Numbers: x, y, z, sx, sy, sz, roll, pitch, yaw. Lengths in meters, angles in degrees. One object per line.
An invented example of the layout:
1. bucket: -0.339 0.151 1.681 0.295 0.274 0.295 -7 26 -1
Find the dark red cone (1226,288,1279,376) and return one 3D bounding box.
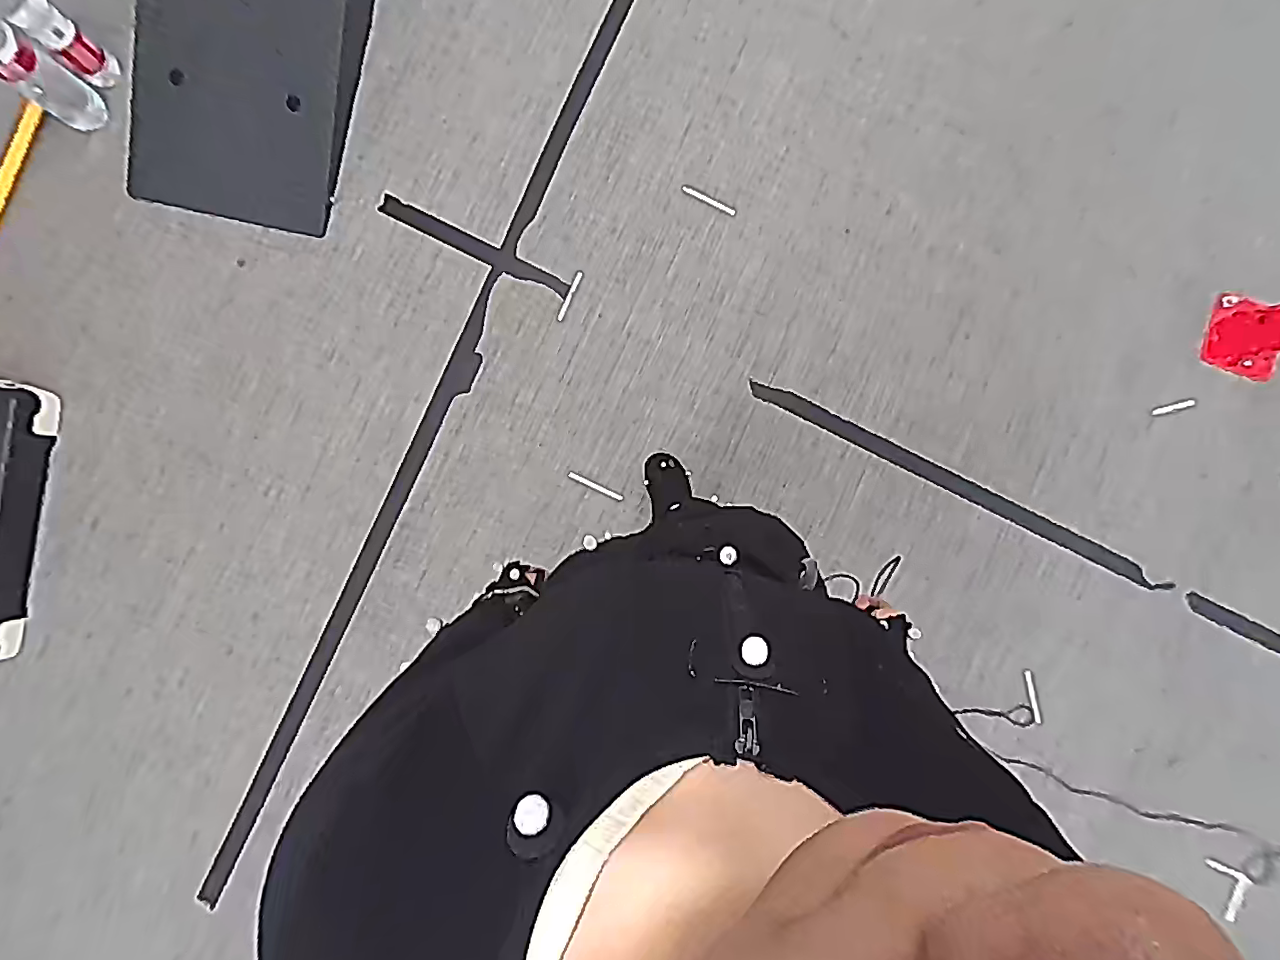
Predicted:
1. dark red cone: 1.628 -0.378 1.230 0.202 0.394 0.201 18 89 -1
